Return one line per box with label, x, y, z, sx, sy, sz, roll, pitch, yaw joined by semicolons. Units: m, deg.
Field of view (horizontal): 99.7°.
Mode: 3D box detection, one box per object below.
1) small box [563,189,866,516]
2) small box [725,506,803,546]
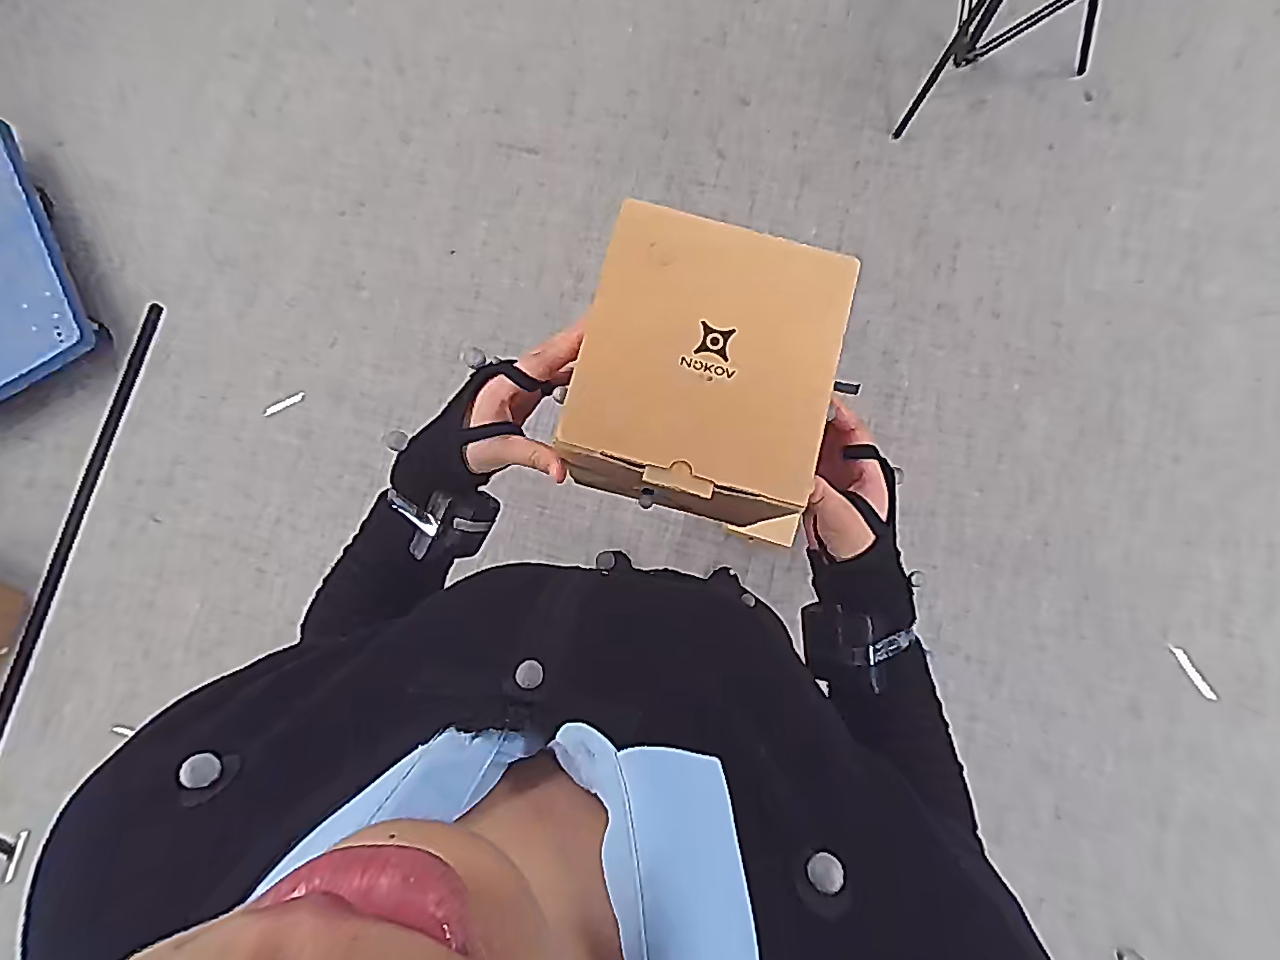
small box;0.047;-0.078;0.421;0.168;0.176;0.179;14;82;0
small box;0.326;0.070;1.421;0.168;0.176;0.179;17;83;5
